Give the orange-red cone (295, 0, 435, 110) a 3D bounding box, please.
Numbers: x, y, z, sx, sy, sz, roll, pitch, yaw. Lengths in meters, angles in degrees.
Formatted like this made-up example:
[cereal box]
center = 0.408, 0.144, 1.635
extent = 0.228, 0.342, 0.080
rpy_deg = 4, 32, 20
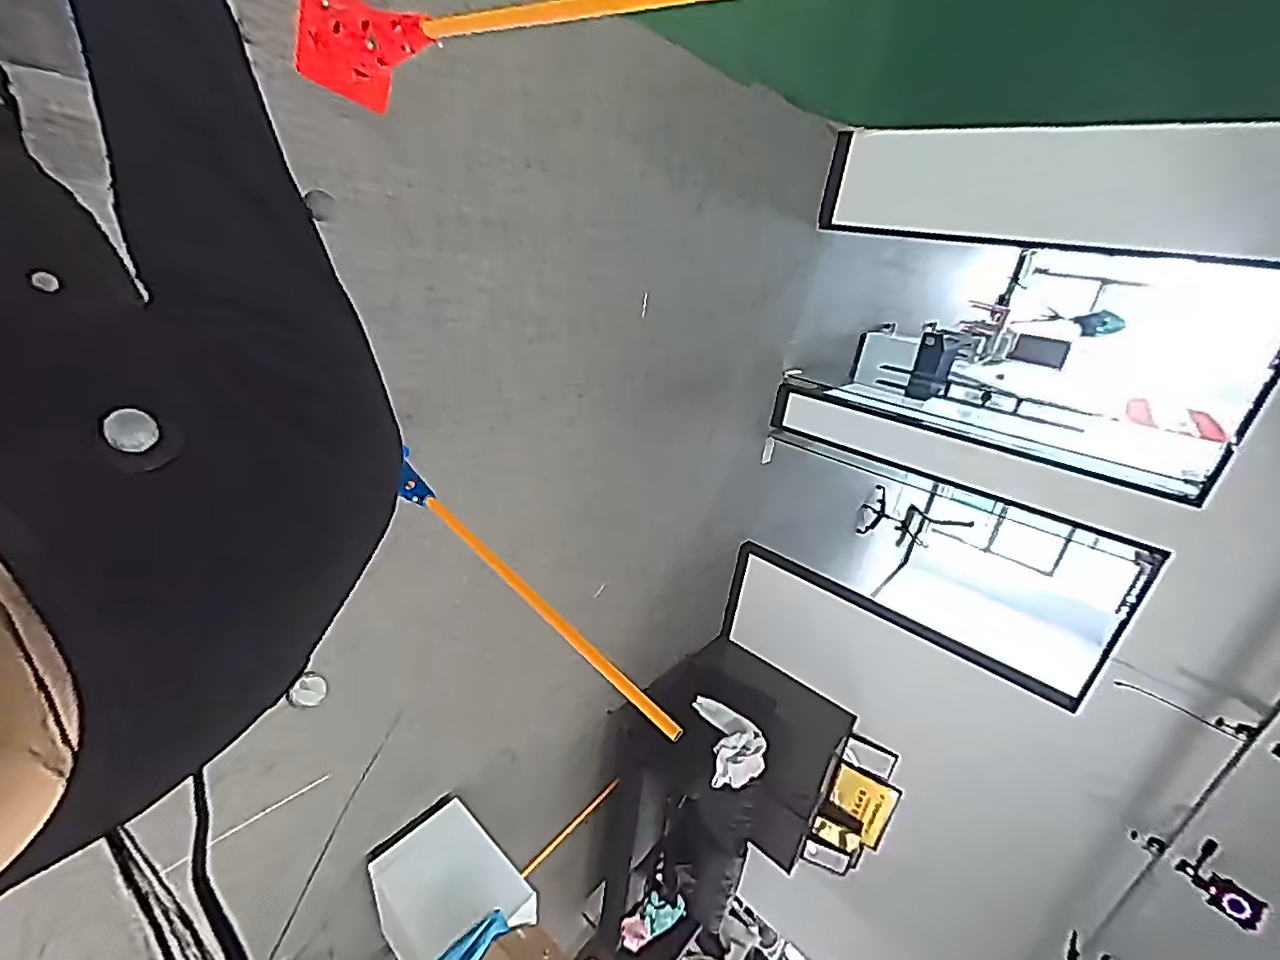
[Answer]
[orange-red cone]
center = -0.525, -0.907, 1.106
extent = 0.198, 0.360, 0.199
rpy_deg = -2, 113, -51
